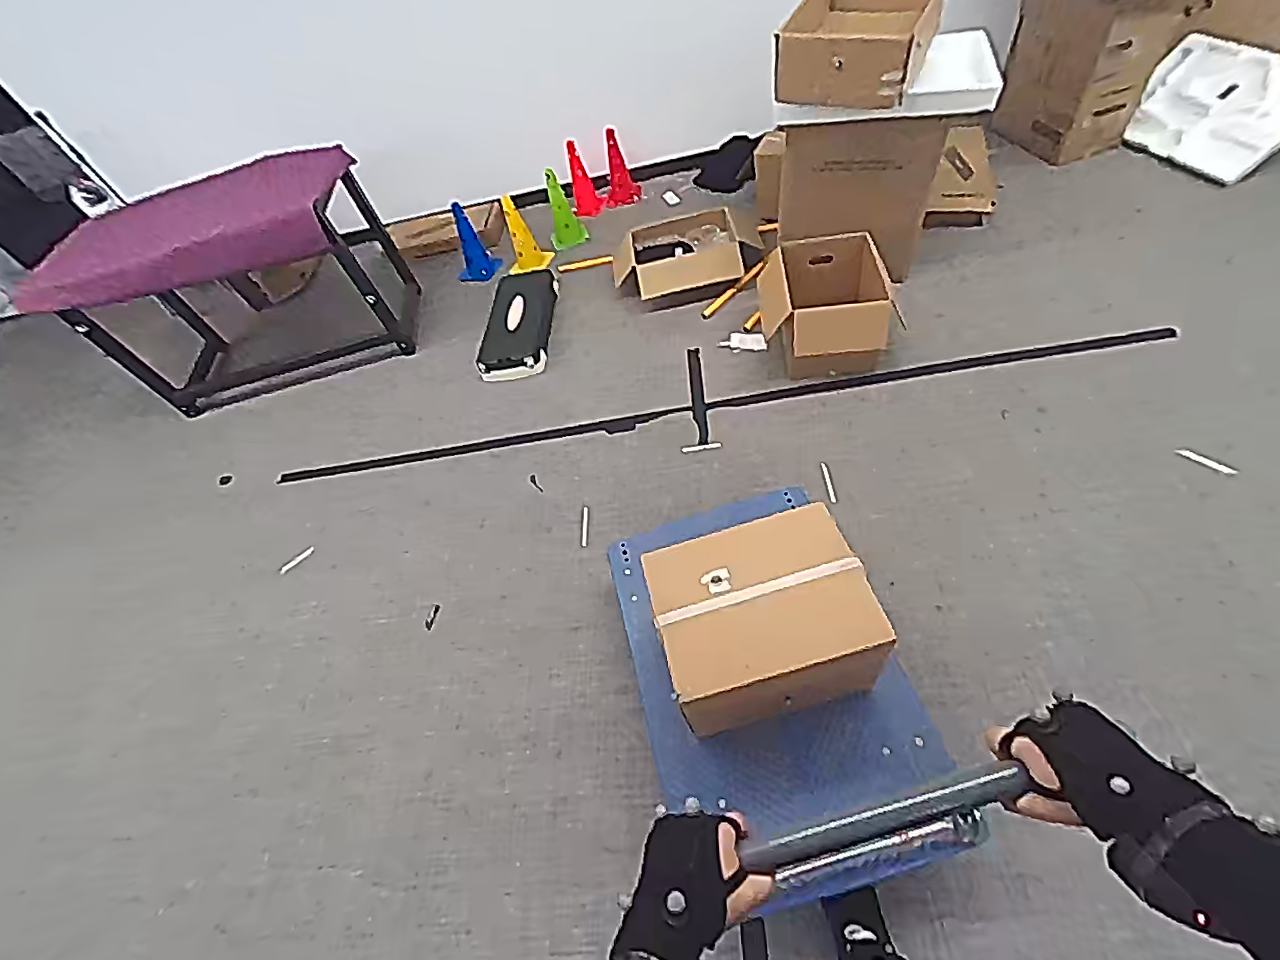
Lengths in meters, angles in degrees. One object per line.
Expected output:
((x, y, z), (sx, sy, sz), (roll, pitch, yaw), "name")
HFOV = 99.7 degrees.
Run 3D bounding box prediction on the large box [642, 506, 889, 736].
((0.258, 0.316, 1.177), (0.408, 0.320, 0.320), (-18, 51, 1), "large box")
